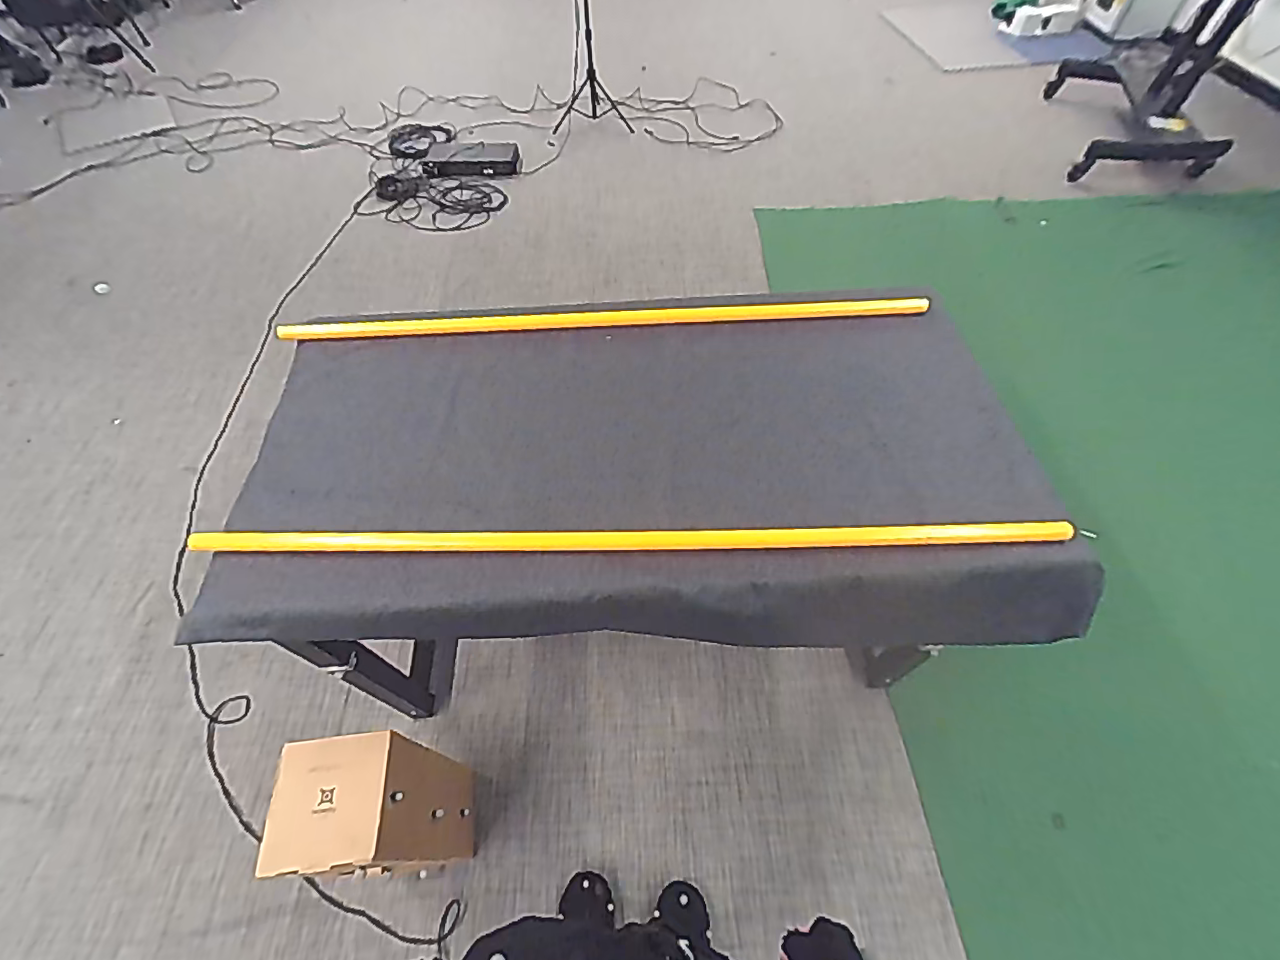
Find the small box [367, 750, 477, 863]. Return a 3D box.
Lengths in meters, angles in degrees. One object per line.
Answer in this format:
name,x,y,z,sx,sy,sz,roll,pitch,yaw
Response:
small box,-0.450,0.691,1.143,0.168,0.176,0.179,-9,57,-4
